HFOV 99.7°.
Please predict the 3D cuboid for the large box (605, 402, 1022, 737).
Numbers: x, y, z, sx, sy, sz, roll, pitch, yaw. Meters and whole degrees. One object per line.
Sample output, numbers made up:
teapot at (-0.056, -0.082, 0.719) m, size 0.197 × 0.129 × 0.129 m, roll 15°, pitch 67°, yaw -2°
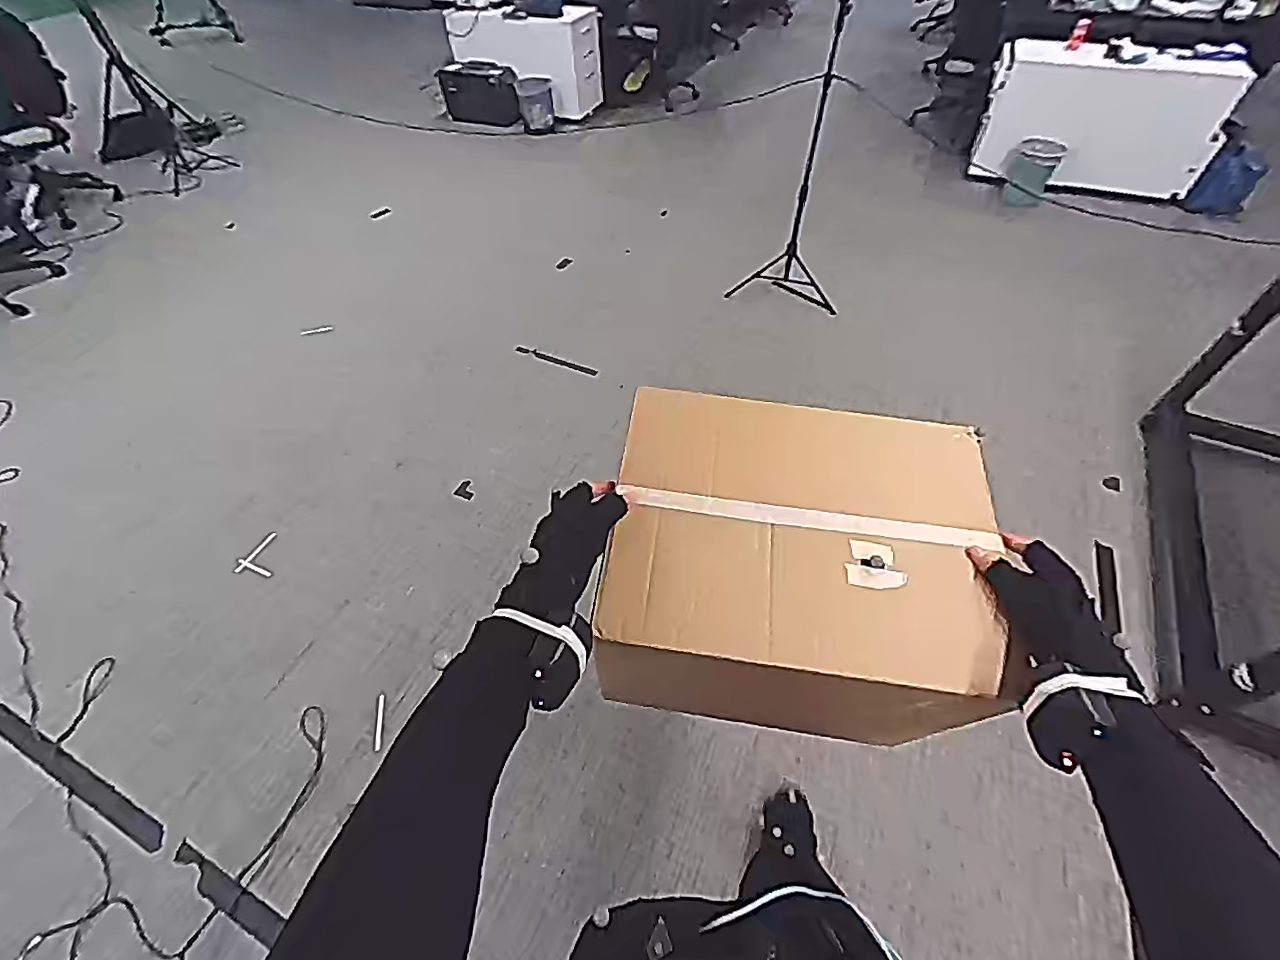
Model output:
large box at (0.175, 0.130, 0.715) m, size 0.408 × 0.320 × 0.320 m, roll 8°, pitch 59°, yaw 3°
